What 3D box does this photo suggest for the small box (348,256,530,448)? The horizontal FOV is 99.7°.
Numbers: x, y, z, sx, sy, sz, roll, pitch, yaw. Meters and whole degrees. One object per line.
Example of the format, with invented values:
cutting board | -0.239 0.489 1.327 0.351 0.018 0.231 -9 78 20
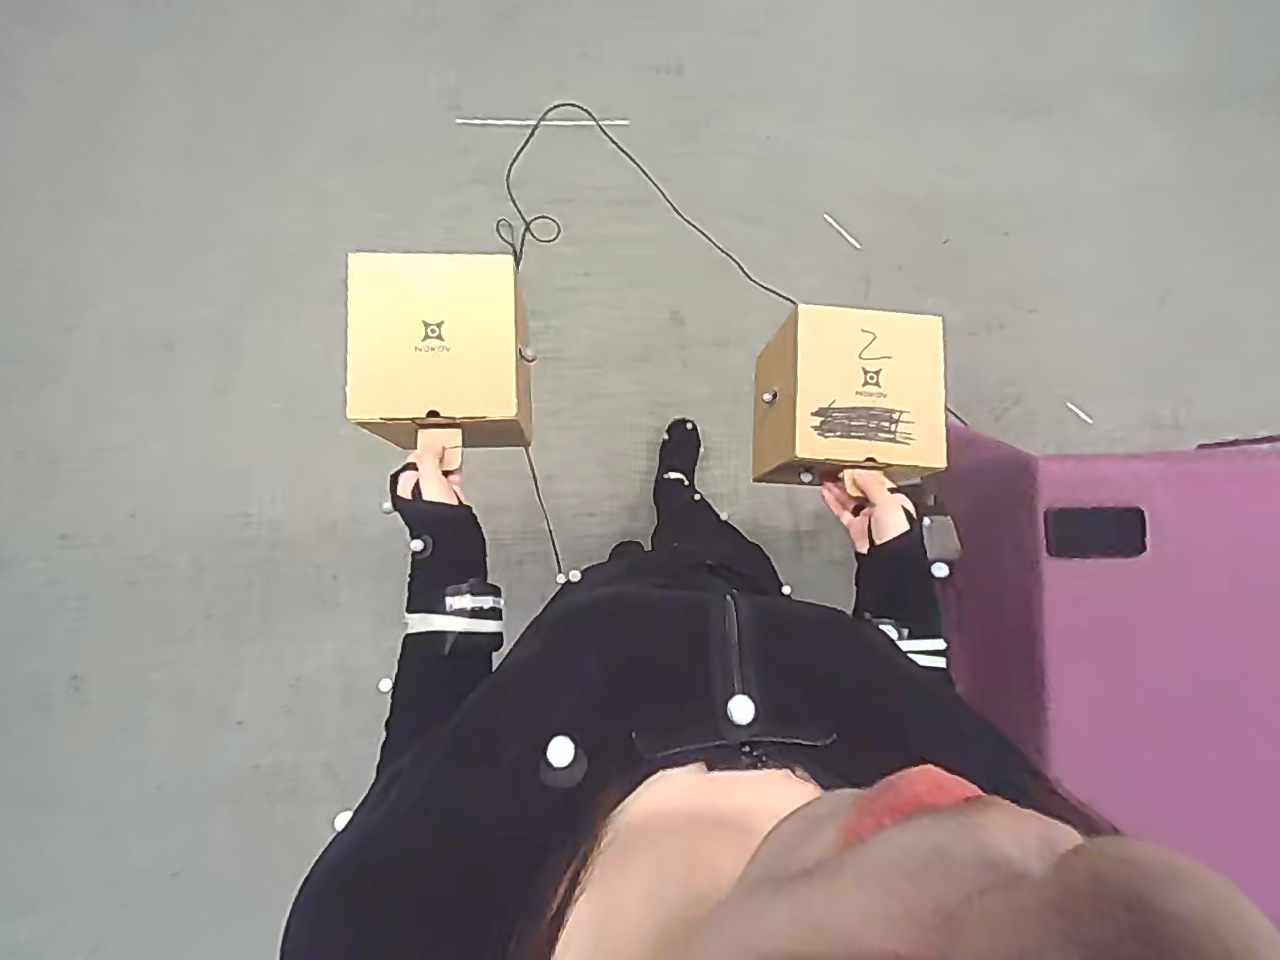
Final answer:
small box | -0.222 -0.139 0.635 0.168 0.176 0.179 -2 85 -6
